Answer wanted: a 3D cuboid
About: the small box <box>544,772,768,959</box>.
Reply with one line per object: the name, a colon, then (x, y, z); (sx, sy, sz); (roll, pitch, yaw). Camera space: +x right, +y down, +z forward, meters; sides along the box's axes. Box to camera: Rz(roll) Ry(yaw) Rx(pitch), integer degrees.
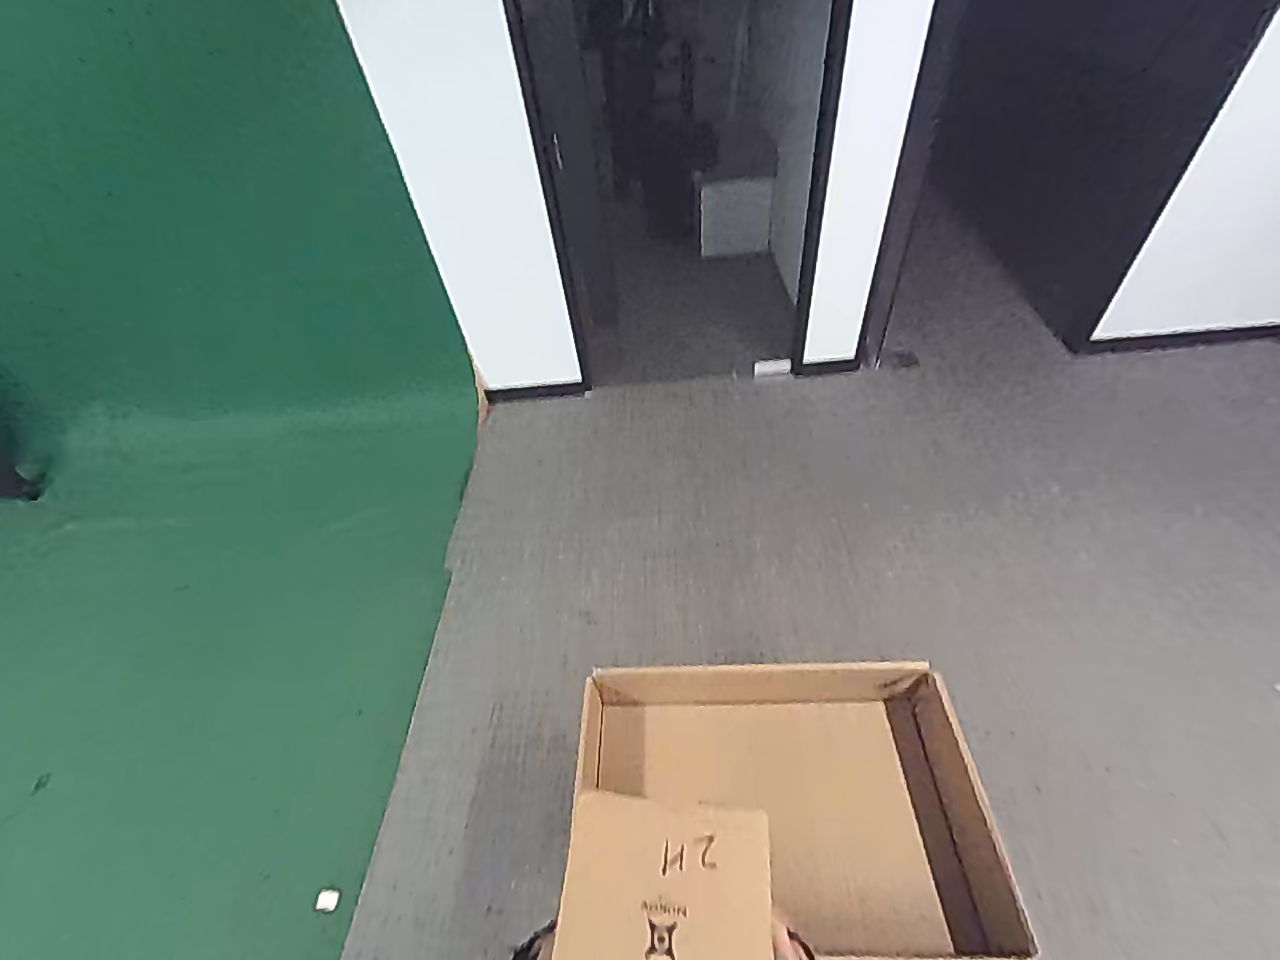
small box: (0.022, 0.381, 0.470); (0.168, 0.176, 0.179); (2, 47, 8)
